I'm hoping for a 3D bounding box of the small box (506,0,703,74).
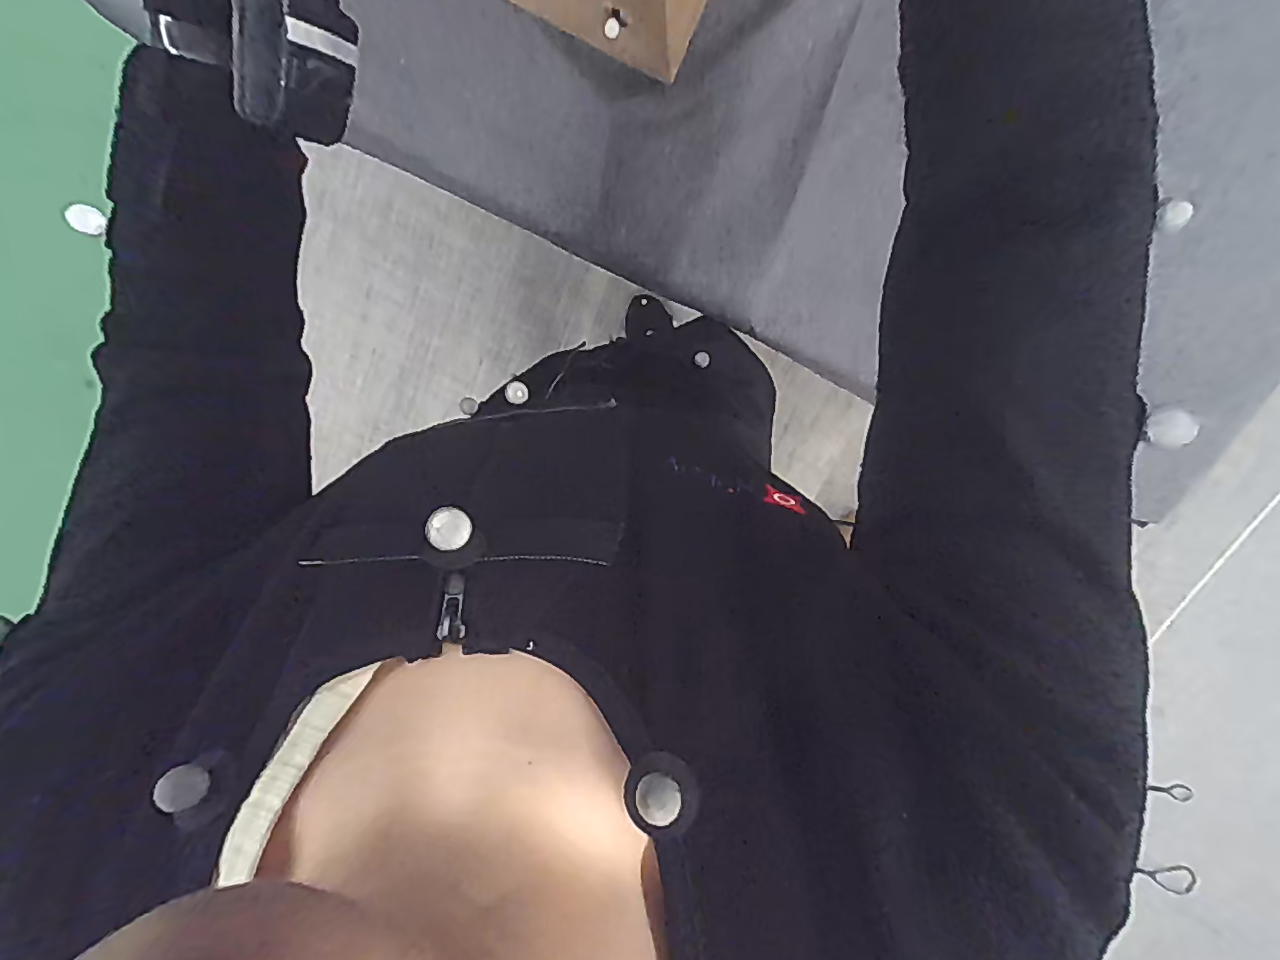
[{"bbox_3d":[-0.020,-0.440,0.390,0.179,0.176,0.168,25,106,-4],"label":"small box"}]
